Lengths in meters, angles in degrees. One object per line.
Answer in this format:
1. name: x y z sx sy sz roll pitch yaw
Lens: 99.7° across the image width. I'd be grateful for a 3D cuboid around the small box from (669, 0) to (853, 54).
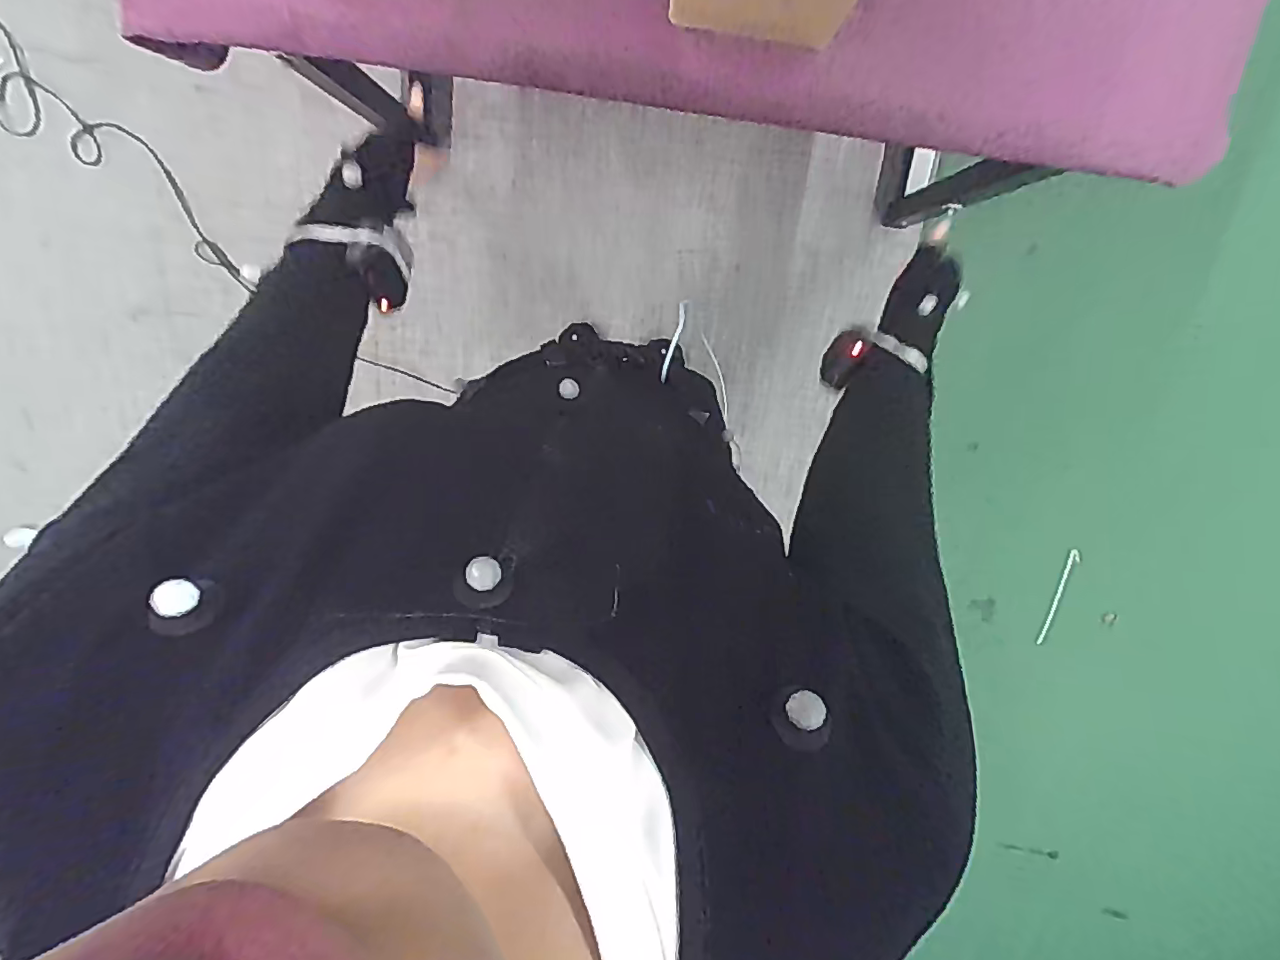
1. small box: 0.129 -0.540 0.505 0.179 0.176 0.168 9 106 -2
